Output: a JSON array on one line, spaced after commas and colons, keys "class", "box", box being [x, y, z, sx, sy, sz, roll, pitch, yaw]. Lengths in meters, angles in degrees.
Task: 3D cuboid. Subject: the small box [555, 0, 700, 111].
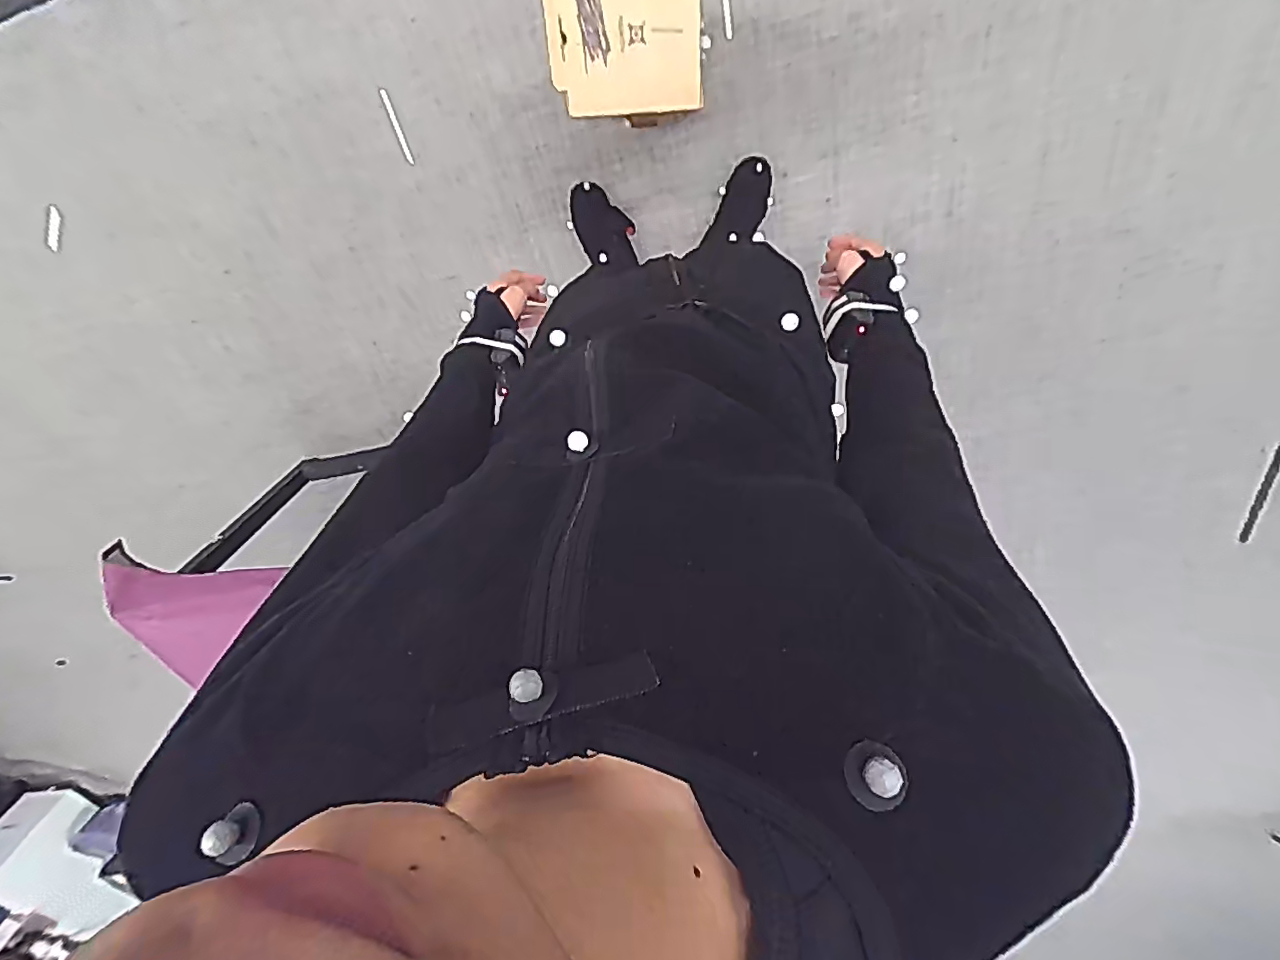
[{"class": "small box", "box": [-0.009, -0.600, 0.726, 0.179, 0.176, 0.168, -1, 124, 5]}]
